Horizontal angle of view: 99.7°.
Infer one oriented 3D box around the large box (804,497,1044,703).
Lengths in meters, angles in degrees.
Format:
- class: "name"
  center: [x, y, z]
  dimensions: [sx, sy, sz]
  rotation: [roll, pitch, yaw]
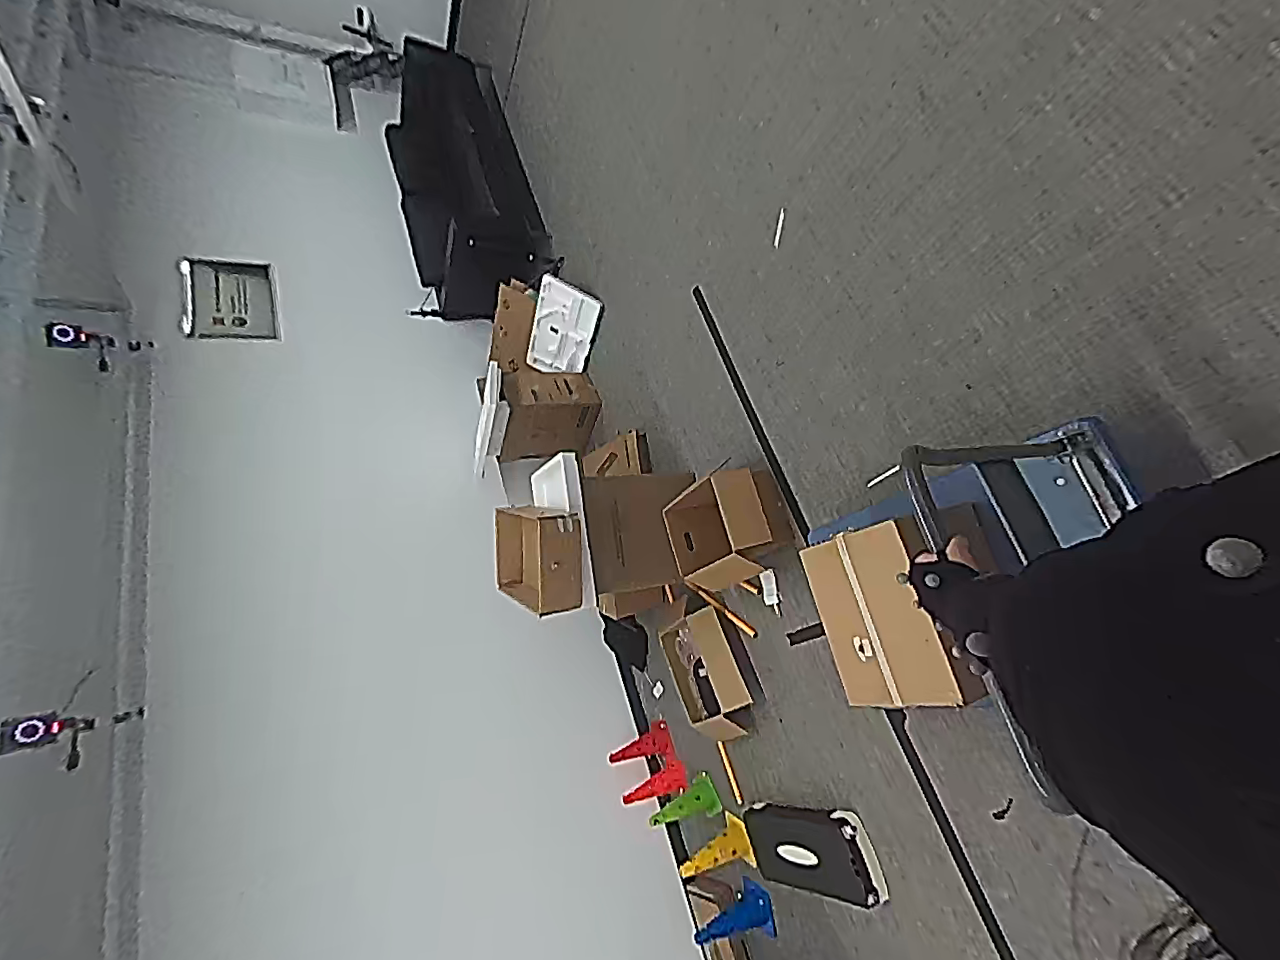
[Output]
- class: "large box"
  center: [0.678, 0.292, 1.327]
  dimensions: [0.320, 0.320, 0.408]
  rotation: [-40, 63, 57]
